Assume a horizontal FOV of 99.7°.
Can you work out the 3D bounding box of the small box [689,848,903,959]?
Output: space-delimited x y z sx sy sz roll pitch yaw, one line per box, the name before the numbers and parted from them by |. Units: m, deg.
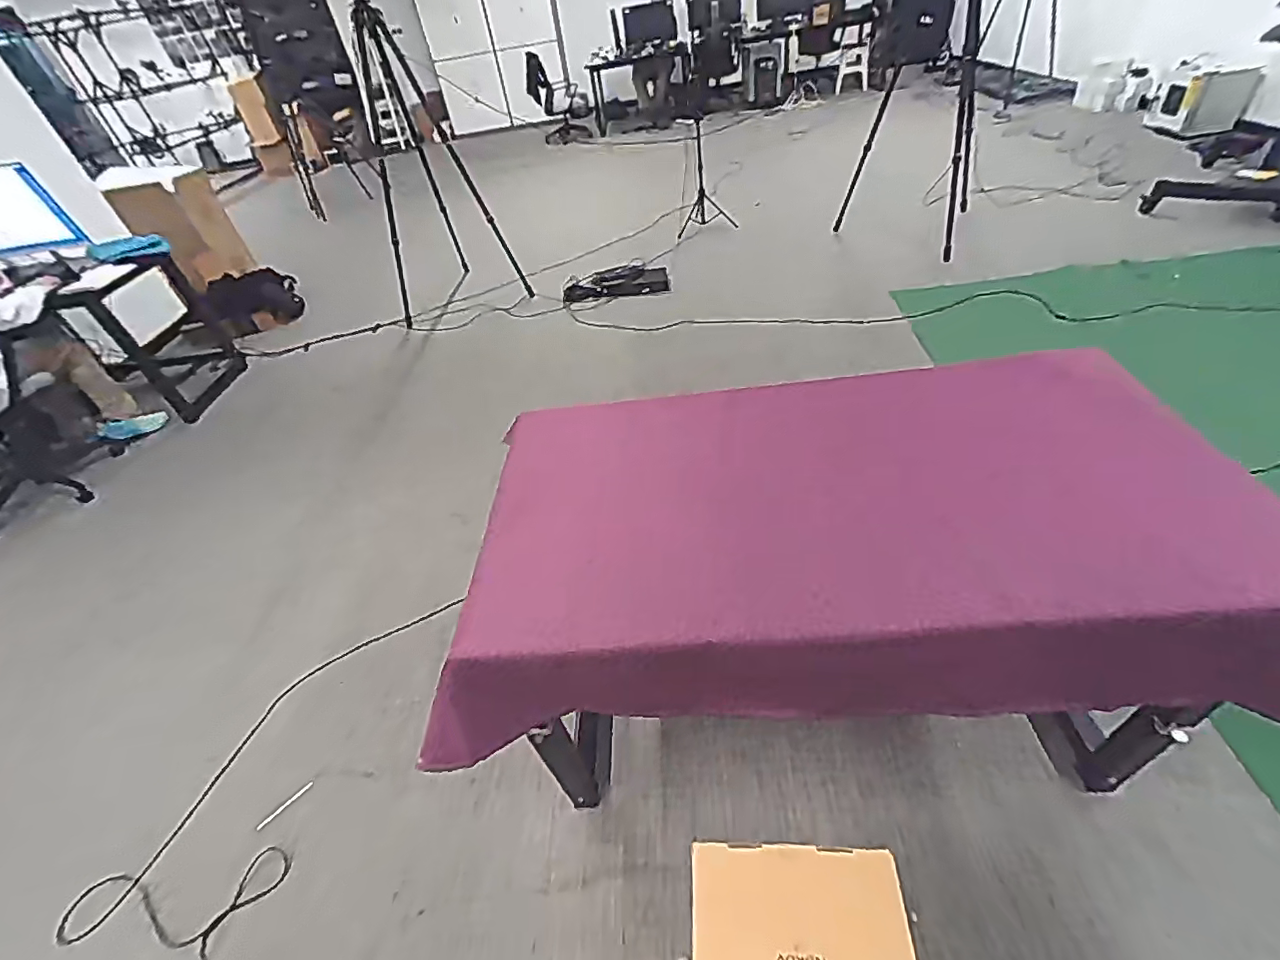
small box | 0.132 0.442 0.463 0.168 0.176 0.179 -4 43 10
